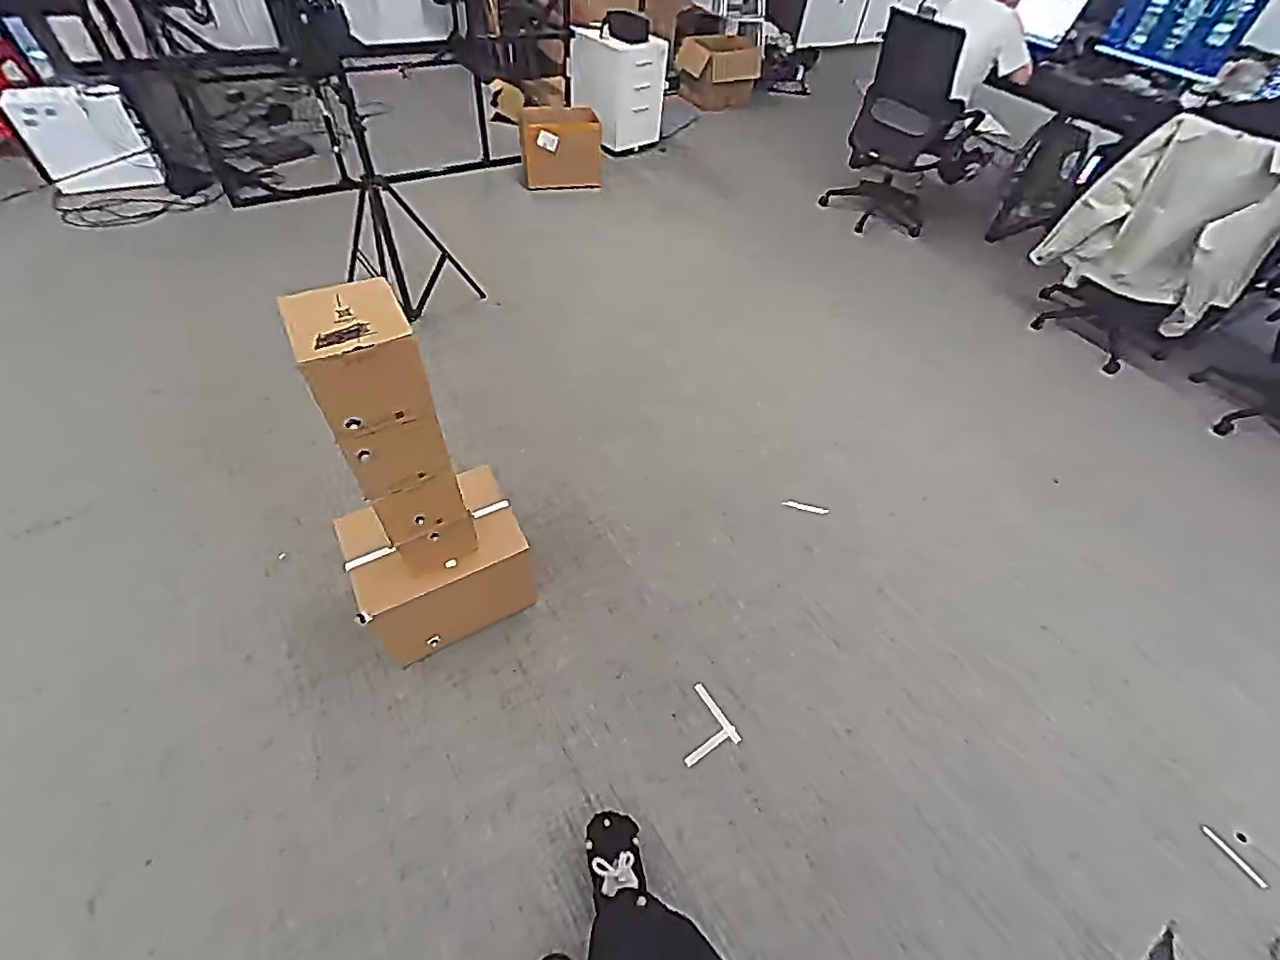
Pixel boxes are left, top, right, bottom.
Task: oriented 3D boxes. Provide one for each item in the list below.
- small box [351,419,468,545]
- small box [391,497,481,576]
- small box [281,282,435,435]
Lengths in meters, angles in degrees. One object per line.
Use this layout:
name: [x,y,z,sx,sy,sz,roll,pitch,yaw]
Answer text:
small box: [-0.487,0.007,1.157,0.168,0.176,0.179,-24,59,-23]
small box: [-0.501,0.100,1.289,0.179,0.176,0.168,-25,59,-24]
small box: [-0.459,-0.195,0.899,0.168,0.176,0.179,-22,57,-22]
